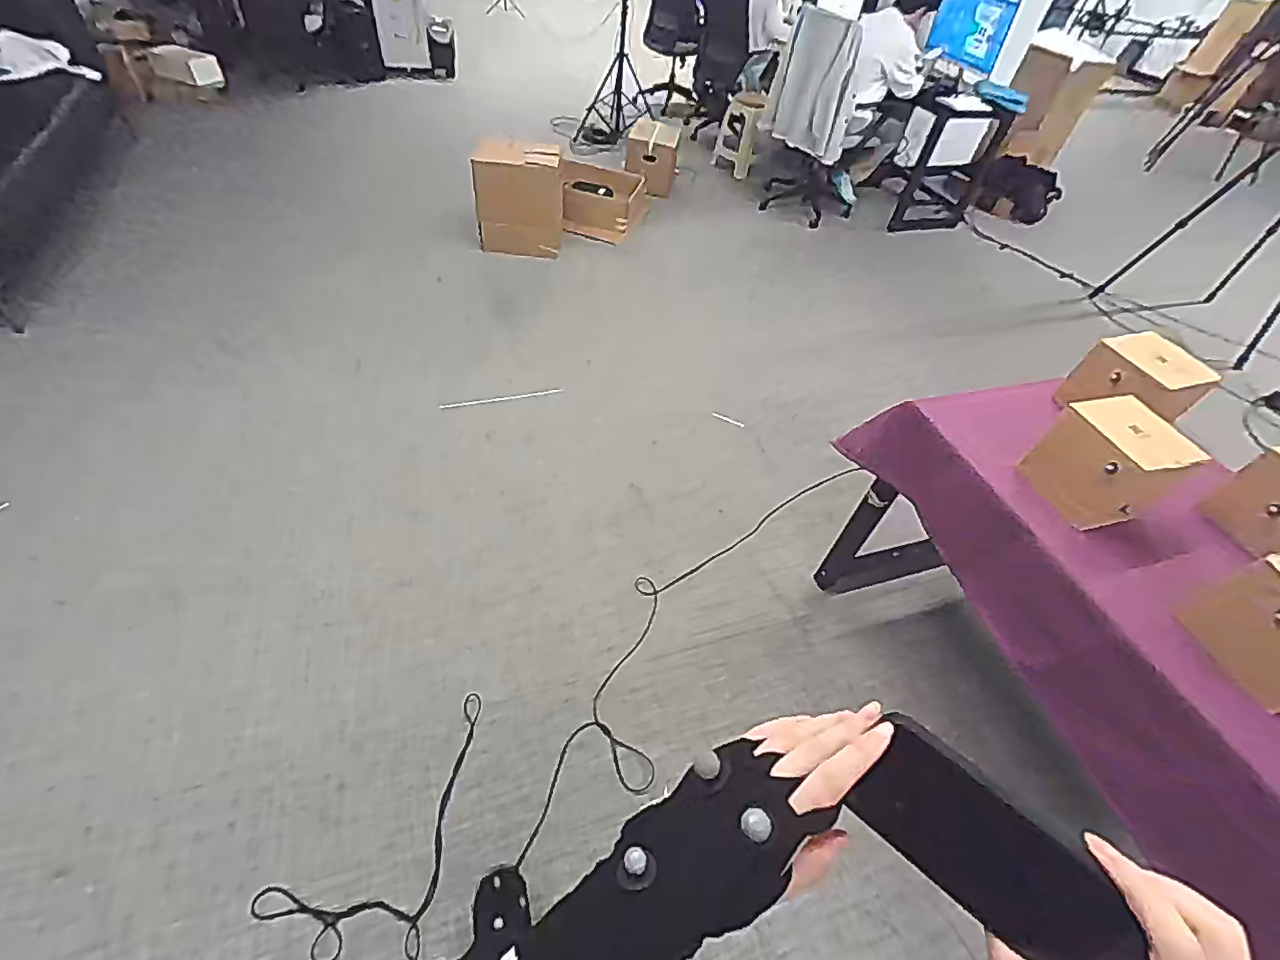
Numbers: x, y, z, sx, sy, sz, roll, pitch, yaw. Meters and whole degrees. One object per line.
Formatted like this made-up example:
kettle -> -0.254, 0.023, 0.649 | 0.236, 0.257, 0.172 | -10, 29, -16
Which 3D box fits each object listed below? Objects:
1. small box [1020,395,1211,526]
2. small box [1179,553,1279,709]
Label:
small box -> 0.885, -0.037, 1.029 | 0.168, 0.176, 0.179 | -8, 52, -15
small box -> 1.004, 0.220, 0.819 | 0.168, 0.176, 0.179 | -7, 51, -14
